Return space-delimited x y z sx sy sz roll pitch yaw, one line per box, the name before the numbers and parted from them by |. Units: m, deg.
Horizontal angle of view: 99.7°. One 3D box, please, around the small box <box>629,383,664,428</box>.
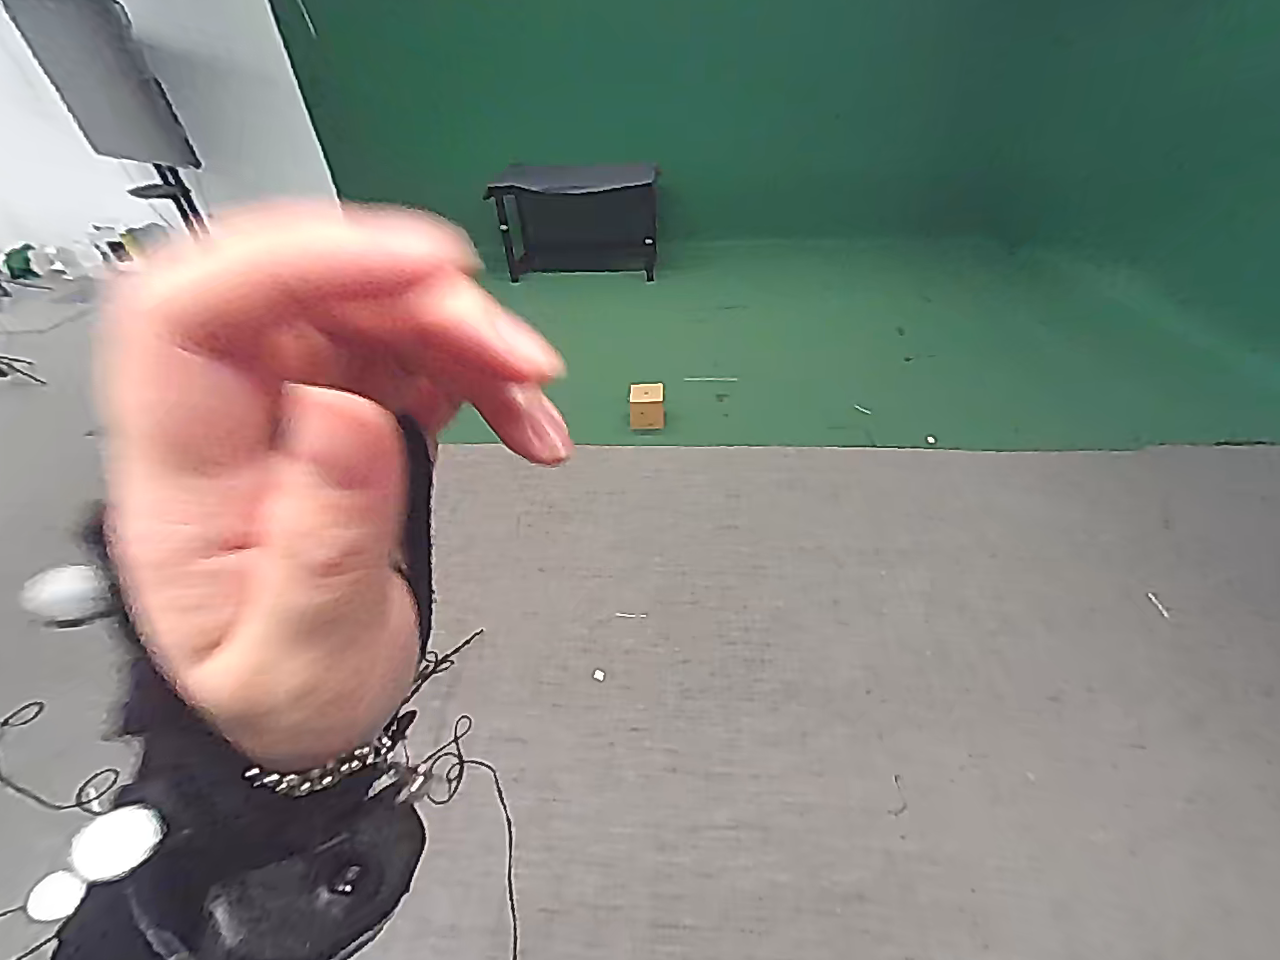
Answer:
small box | 0.038 -0.374 2.738 0.168 0.176 0.179 -1 39 4
